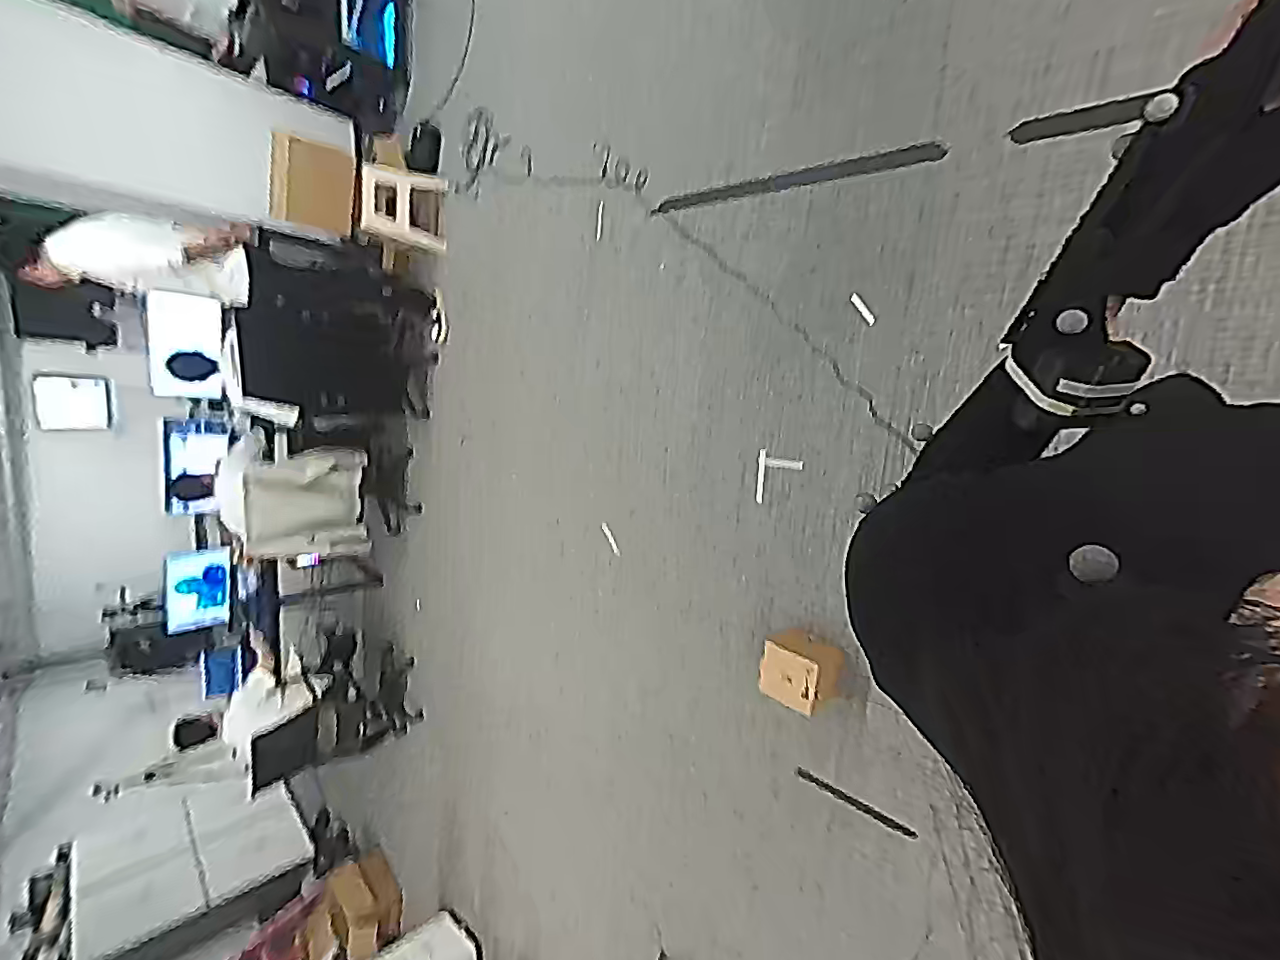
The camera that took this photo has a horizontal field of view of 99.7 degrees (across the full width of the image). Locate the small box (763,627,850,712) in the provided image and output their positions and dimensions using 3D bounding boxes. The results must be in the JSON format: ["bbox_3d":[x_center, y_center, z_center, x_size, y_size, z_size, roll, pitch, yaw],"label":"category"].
[{"bbox_3d":[0.502,0.560,1.632,0.179,0.176,0.168,18,106,43],"label":"small box"}]
